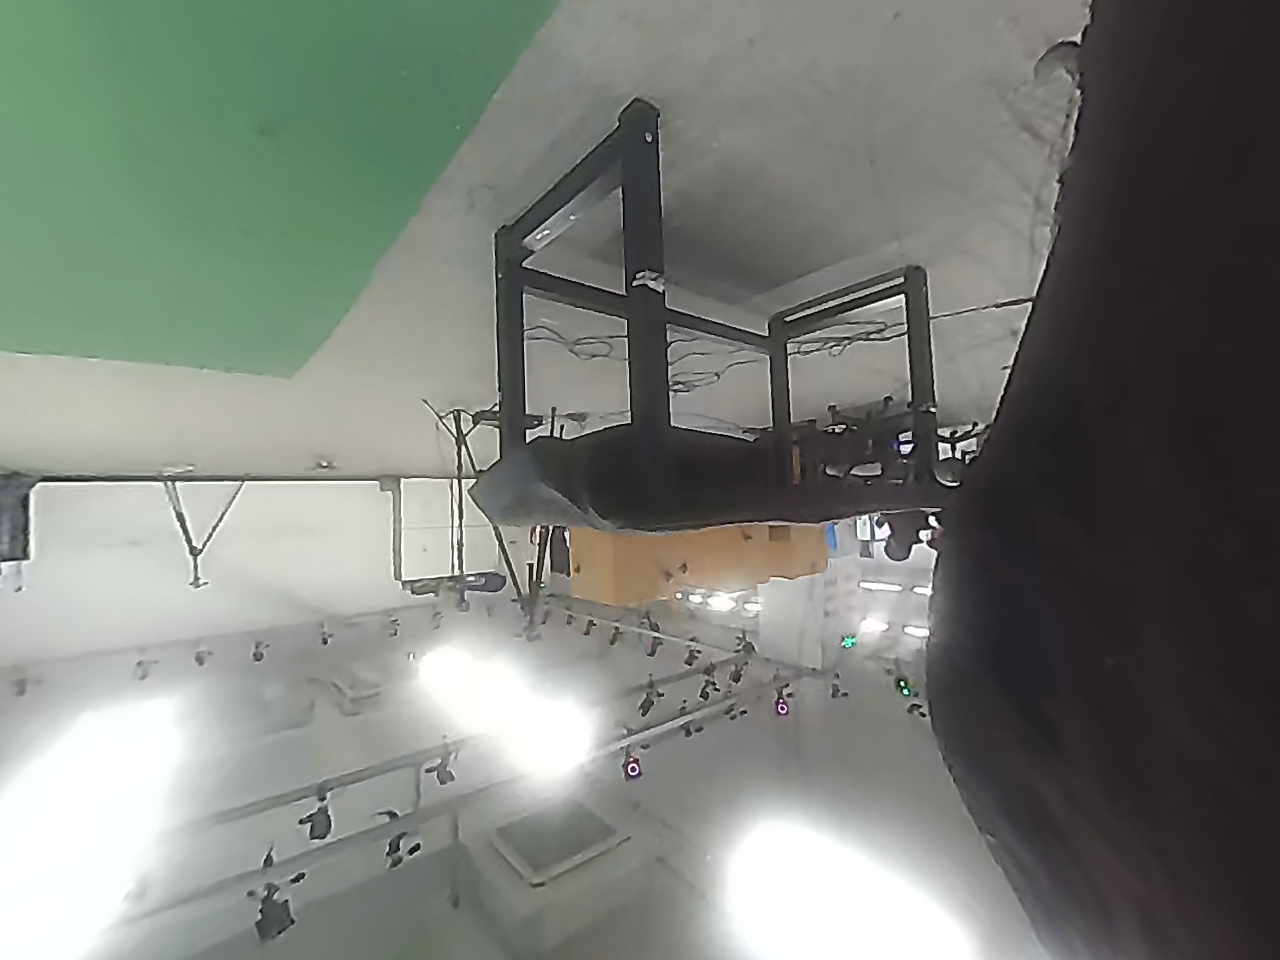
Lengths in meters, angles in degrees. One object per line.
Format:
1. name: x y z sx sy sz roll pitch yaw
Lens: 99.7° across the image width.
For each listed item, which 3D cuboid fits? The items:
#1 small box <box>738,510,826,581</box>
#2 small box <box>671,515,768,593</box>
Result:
1. small box: 0.379 0.171 1.460 0.168 0.176 0.179 1 177 -40
2. small box: 0.190 0.171 1.307 0.168 0.176 0.179 0 177 -39
